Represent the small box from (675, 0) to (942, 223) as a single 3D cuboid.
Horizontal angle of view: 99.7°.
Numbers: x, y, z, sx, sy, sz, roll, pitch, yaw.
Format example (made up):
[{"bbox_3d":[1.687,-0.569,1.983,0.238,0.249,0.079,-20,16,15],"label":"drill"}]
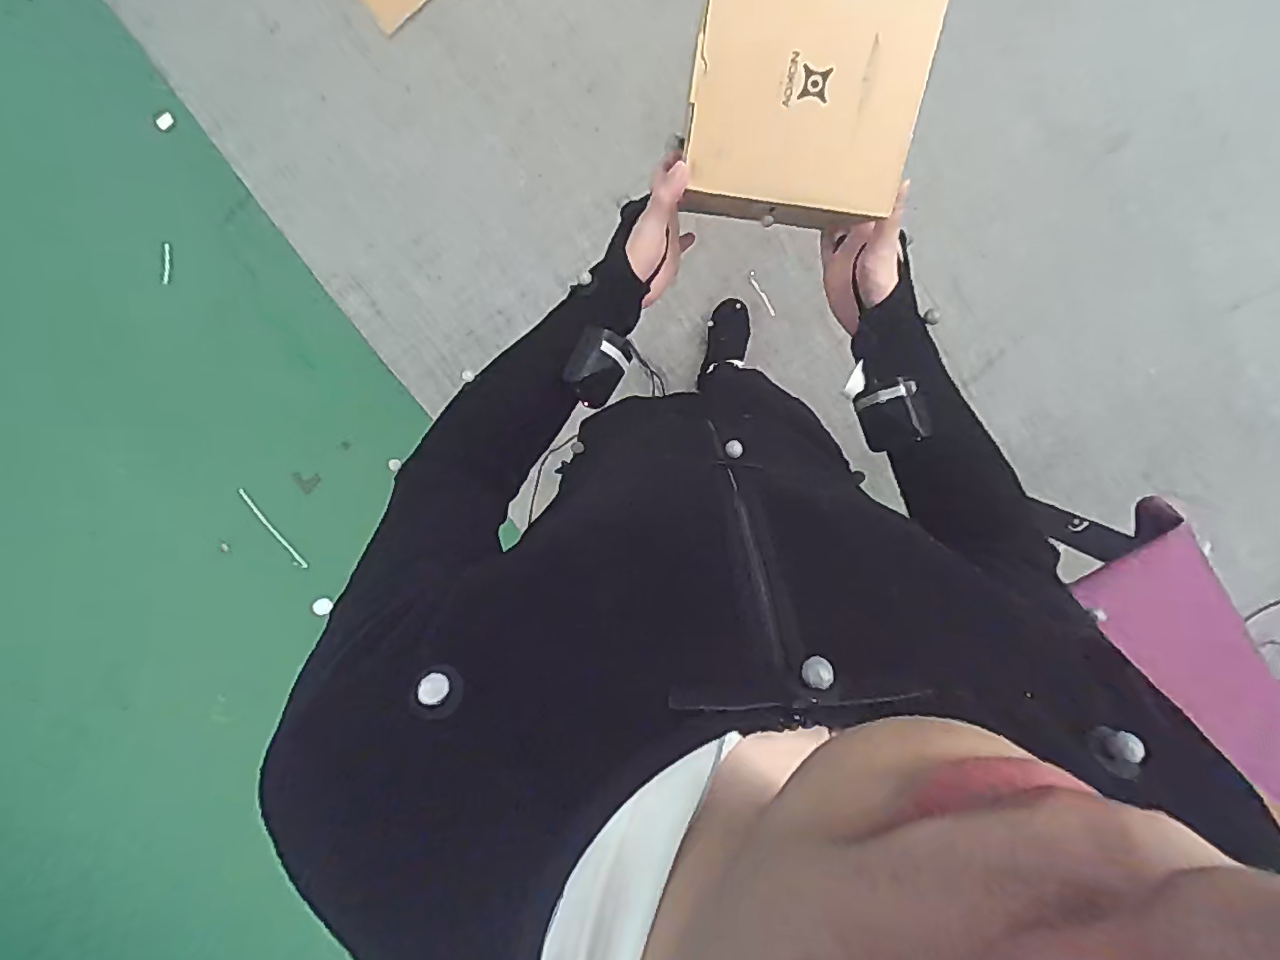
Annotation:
[{"bbox_3d":[0.129,-0.335,0.486,0.179,0.176,0.168,8,112,-1],"label":"small box"}]
